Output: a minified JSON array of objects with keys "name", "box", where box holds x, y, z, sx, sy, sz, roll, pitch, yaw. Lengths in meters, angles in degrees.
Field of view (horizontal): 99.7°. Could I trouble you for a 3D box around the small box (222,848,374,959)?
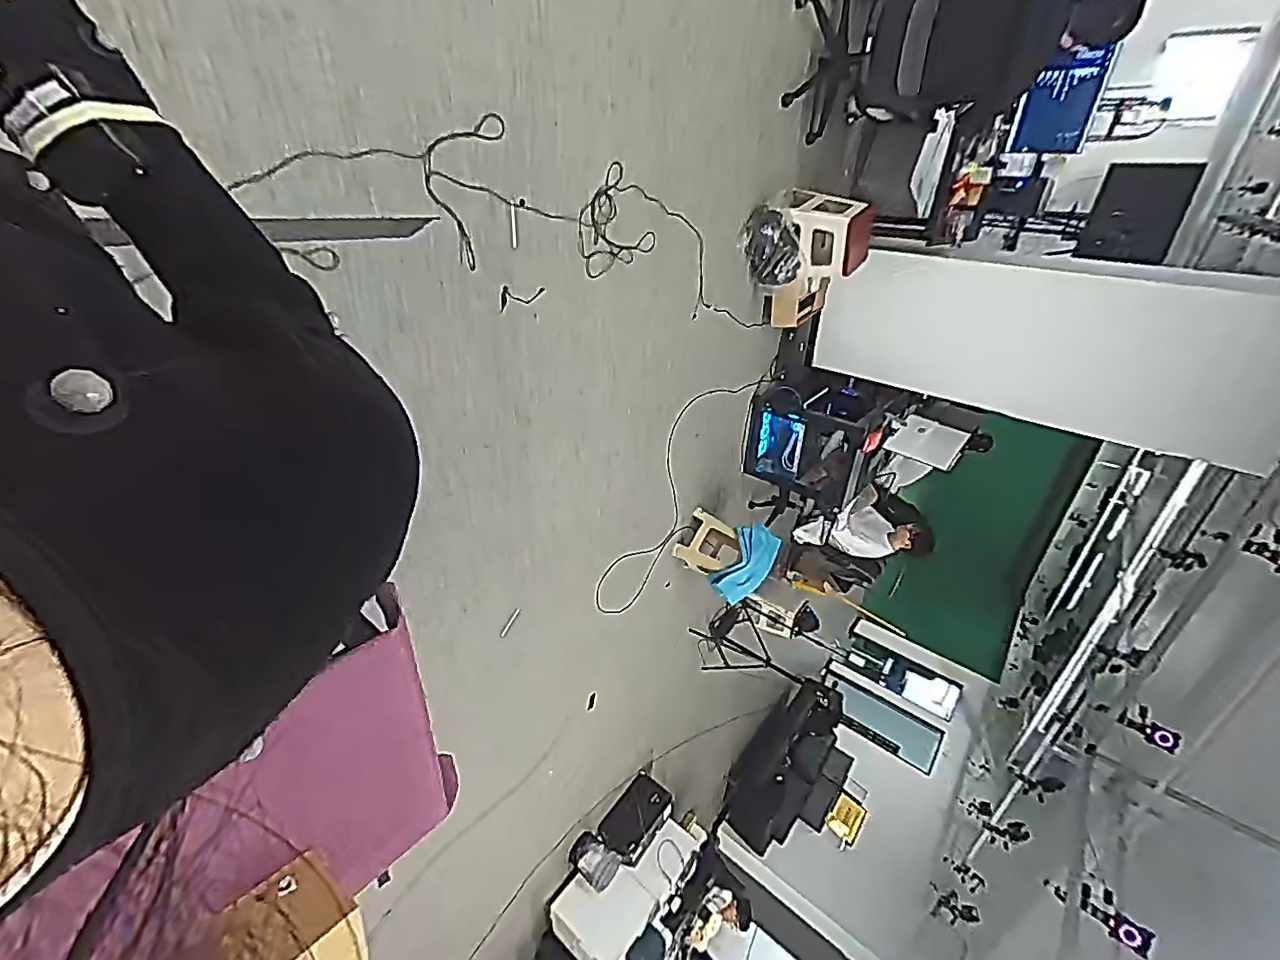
[{"name":"small box","box":[-0.601,0.810,0.956,0.168,0.176,0.179,-24,126,-48]}]
